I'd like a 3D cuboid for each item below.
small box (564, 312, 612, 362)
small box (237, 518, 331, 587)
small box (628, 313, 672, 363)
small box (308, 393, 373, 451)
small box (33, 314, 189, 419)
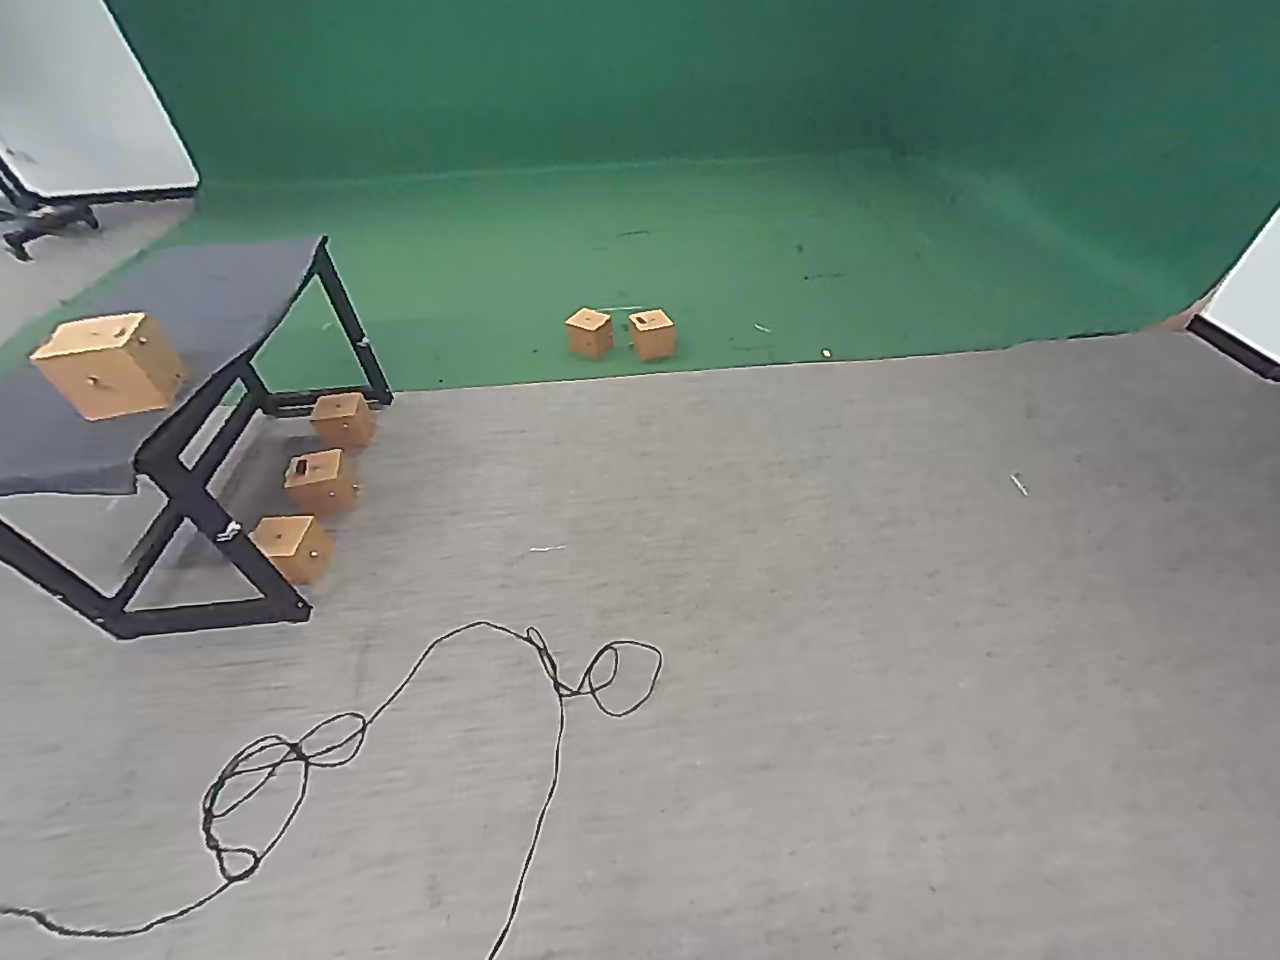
[{"bbox_3d":[-0.254,-0.712,2.696,0.179,0.176,0.168,21,49,22],"label":"small box"},{"bbox_3d":[-1.169,0.241,1.794,0.179,0.176,0.168,-2,46,1],"label":"small box"},{"bbox_3d":[0.052,-0.696,2.670,0.179,0.176,0.168,-15,47,-14],"label":"small box"},{"bbox_3d":[-1.245,-0.242,2.266,0.179,0.176,0.168,-8,45,-6],"label":"small box"},{"bbox_3d":[-1.223,-0.264,1.267,0.179,0.176,0.168,-13,47,-11],"label":"small box"}]
